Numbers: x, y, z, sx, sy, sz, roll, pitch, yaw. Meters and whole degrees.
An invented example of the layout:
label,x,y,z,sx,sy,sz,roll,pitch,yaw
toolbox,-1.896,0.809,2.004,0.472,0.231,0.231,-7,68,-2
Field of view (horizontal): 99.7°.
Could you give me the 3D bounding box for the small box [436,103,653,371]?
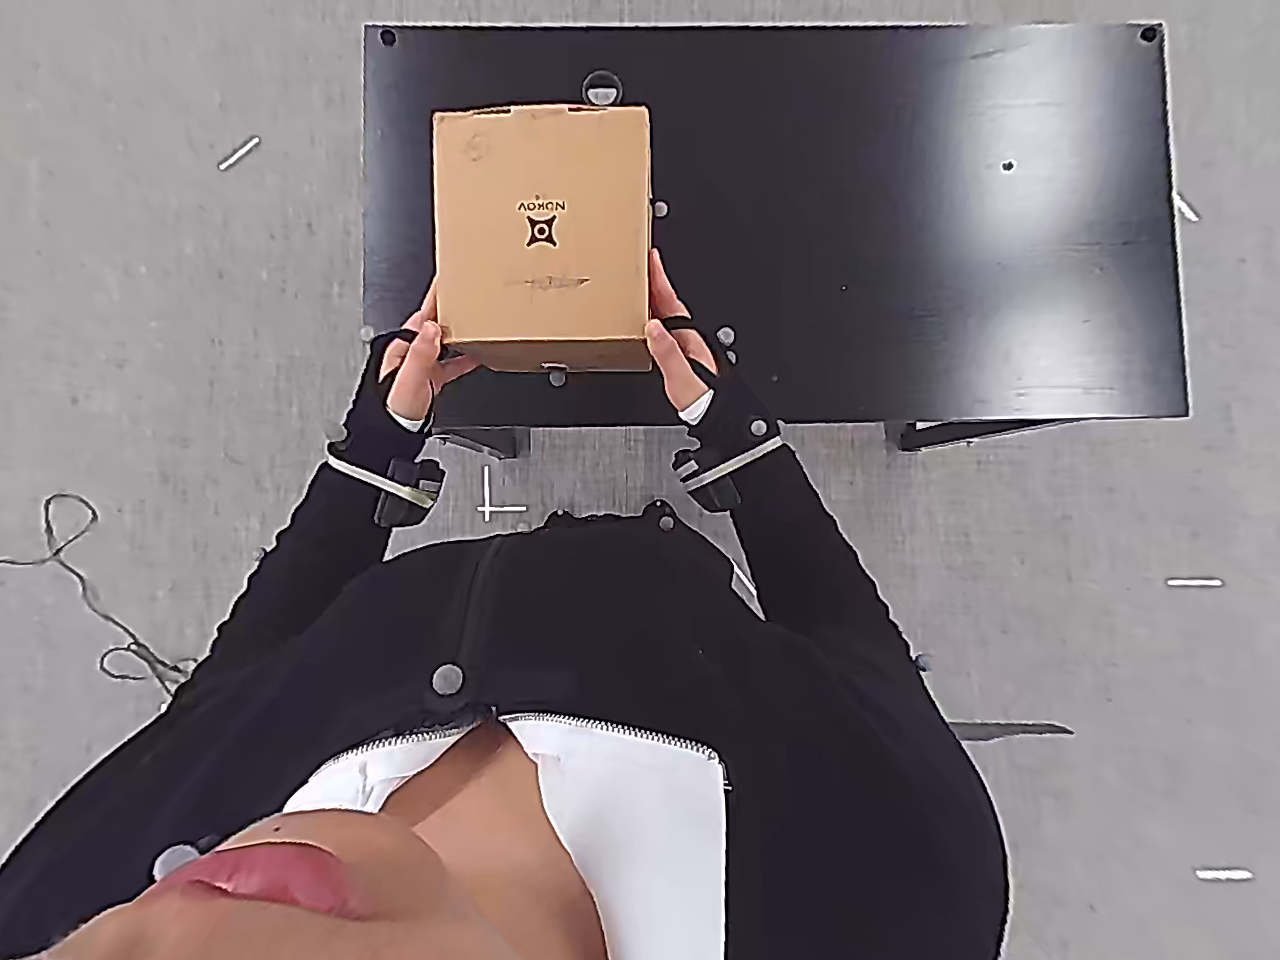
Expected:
label,x,y,z,sx,sy,sz,roll,pitch,yaw
small box,-0.073,-0.202,0.493,0.168,0.176,0.179,0,93,2
